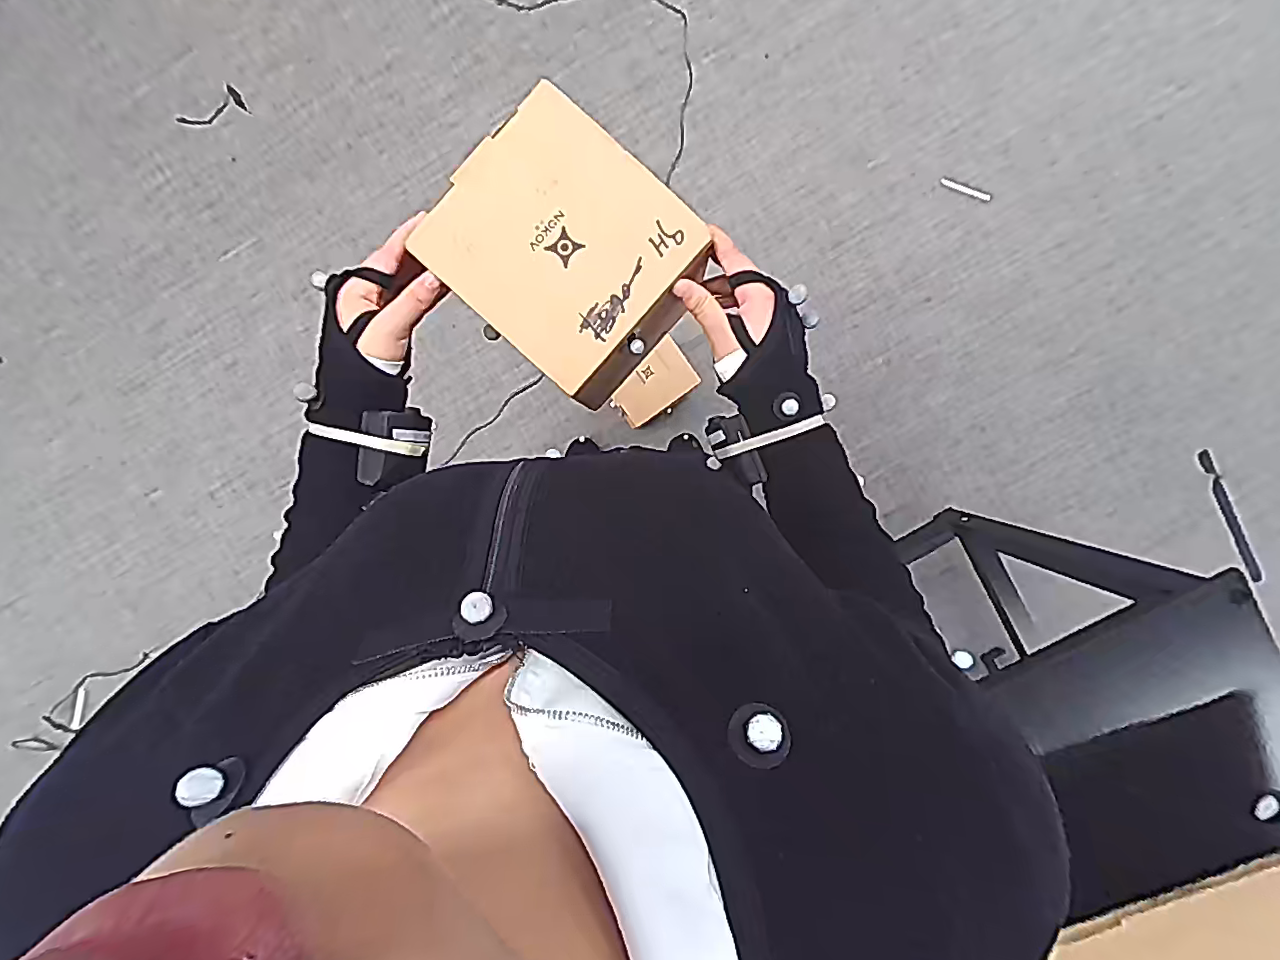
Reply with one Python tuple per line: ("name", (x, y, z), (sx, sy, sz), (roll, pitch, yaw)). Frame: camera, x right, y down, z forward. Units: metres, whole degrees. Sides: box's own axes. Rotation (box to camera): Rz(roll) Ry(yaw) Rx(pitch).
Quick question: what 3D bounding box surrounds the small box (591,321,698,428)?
("small box", (0.011, -0.230, 1.231), (0.179, 0.176, 0.168), (-36, 94, 3))
